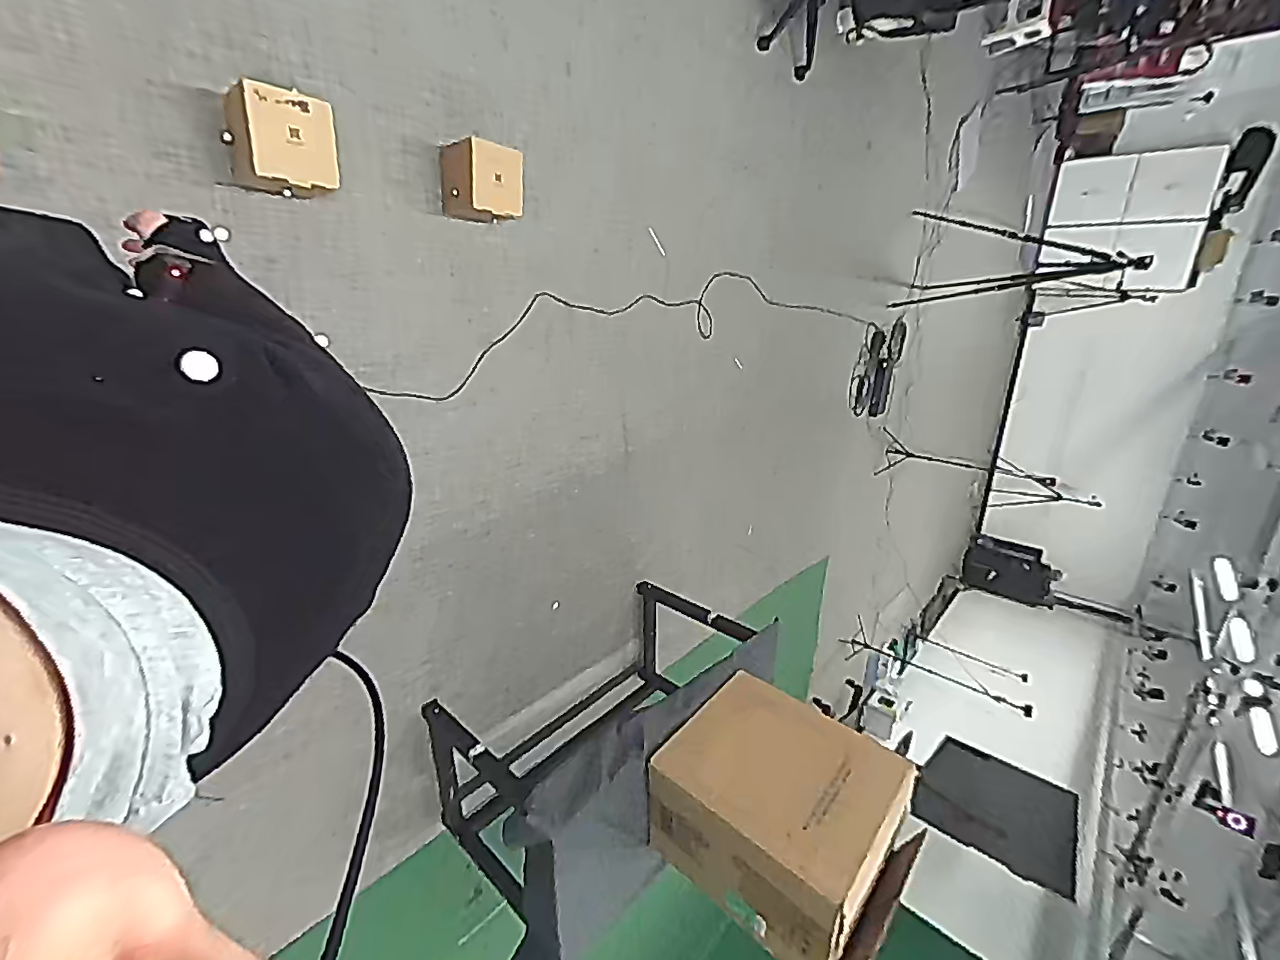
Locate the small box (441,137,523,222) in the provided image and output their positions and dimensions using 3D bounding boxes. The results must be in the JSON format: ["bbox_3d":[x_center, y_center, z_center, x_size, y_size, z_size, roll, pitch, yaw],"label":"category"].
[{"bbox_3d":[-0.453,-0.852,1.551,0.168,0.176,0.179,-16,113,-46],"label":"small box"}]

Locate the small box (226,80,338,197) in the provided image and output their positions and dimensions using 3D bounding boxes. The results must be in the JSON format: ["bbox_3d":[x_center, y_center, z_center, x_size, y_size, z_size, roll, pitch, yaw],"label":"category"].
[{"bbox_3d":[-0.794,-0.744,1.201,0.168,0.176,0.179,-14,114,-45],"label":"small box"}]
